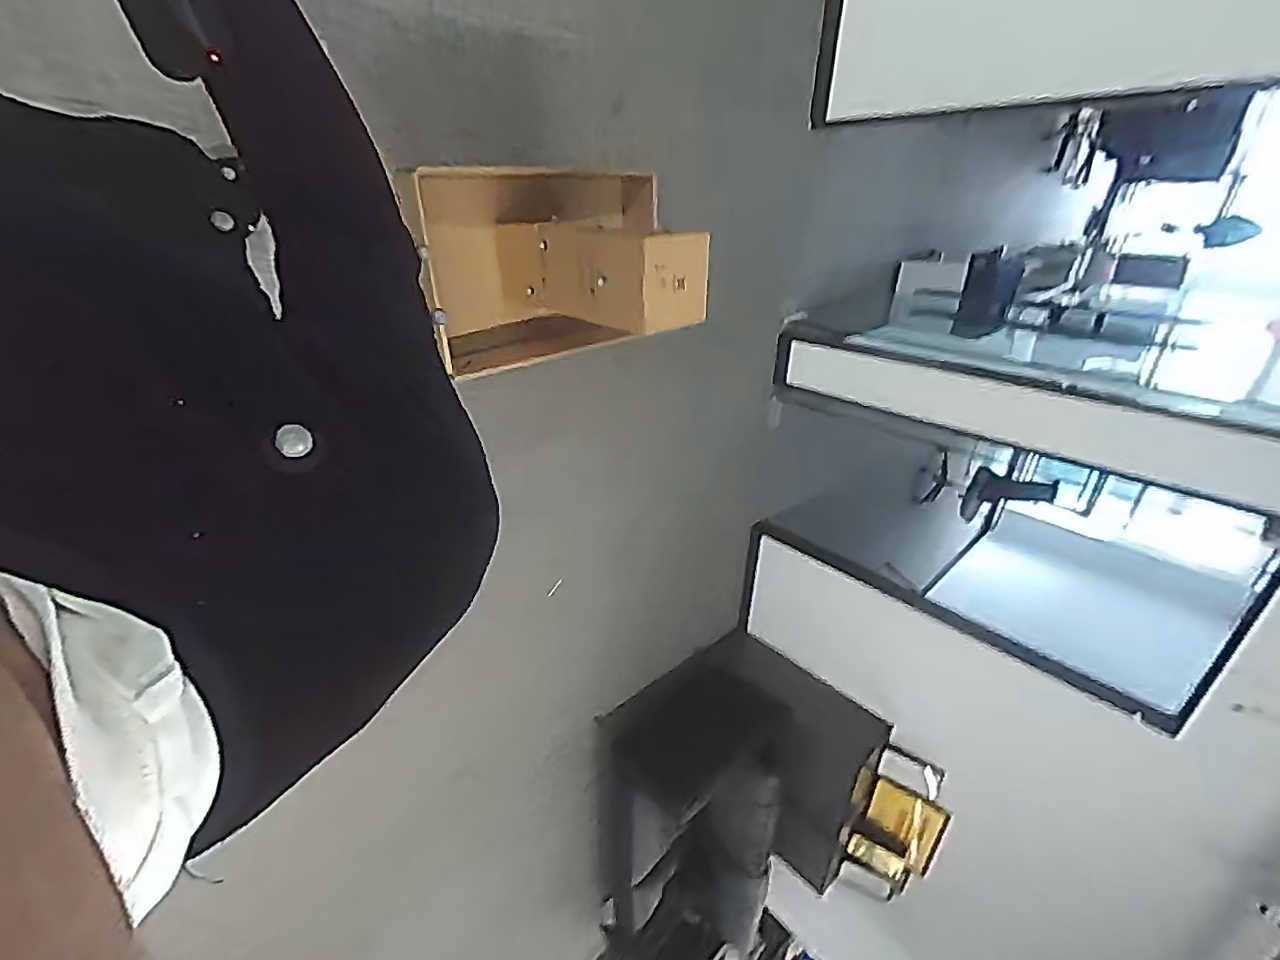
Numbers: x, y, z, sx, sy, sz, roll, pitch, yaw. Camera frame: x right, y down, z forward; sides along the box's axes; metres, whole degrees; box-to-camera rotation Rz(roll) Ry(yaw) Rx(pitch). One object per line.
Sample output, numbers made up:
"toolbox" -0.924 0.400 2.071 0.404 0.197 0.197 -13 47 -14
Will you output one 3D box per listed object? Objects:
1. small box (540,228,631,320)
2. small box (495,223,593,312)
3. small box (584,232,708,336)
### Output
"small box" -0.104 -0.445 1.162 0.179 0.176 0.168 -23 126 -40
"small box" -0.222 -0.502 1.261 0.168 0.176 0.179 -25 127 -38
"small box" 0.009 -0.389 1.056 0.179 0.176 0.168 -24 126 -38
